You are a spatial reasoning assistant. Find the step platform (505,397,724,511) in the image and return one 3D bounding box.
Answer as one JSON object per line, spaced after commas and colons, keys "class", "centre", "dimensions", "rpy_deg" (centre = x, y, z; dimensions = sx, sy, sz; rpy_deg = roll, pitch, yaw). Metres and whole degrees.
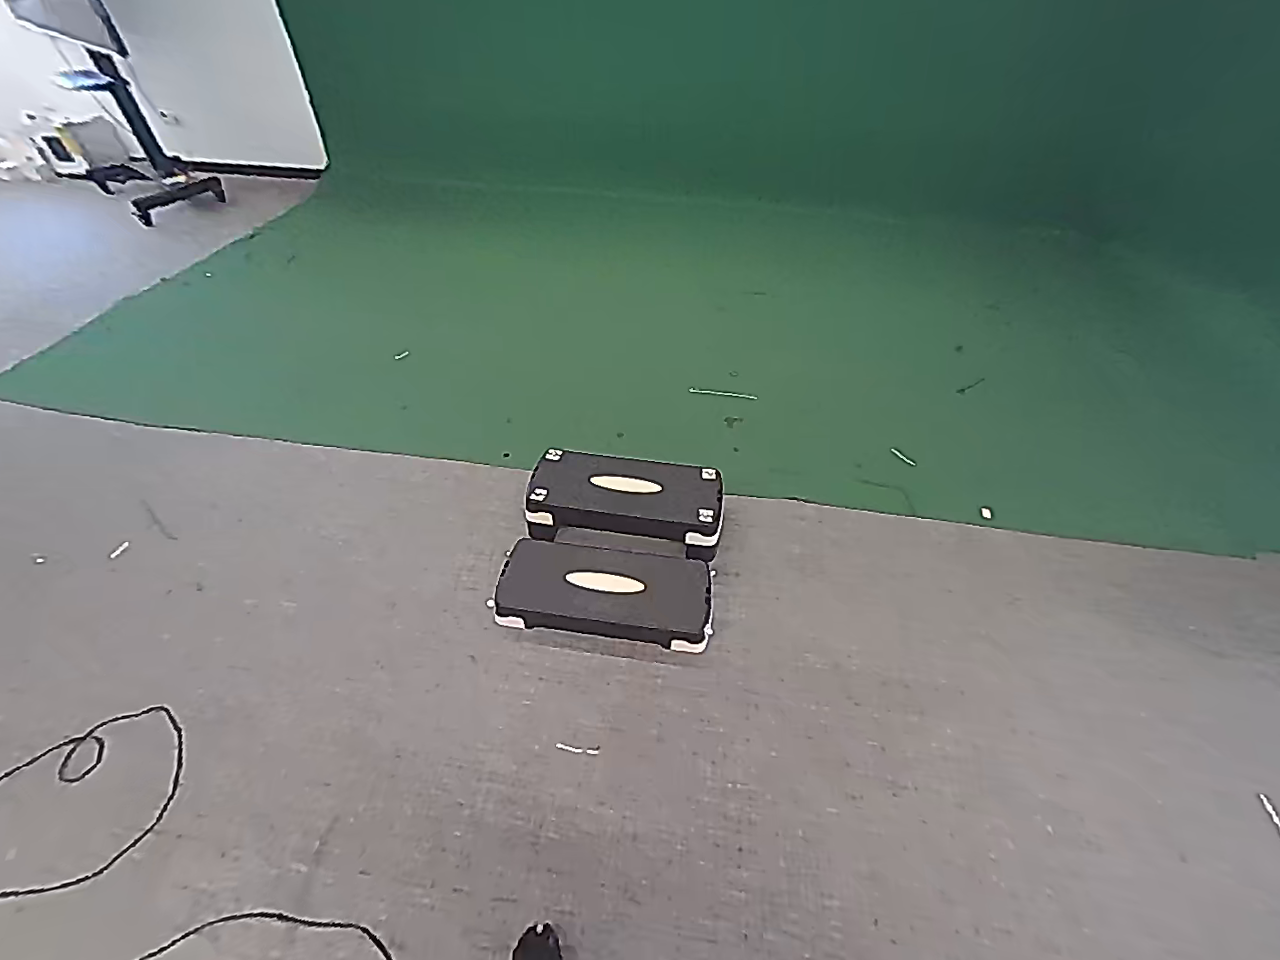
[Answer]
{"class": "step platform", "centre": [-0.078, -0.087, 1.783], "dimensions": [0.684, 0.204, 0.286], "rpy_deg": [6, 46, 6]}
